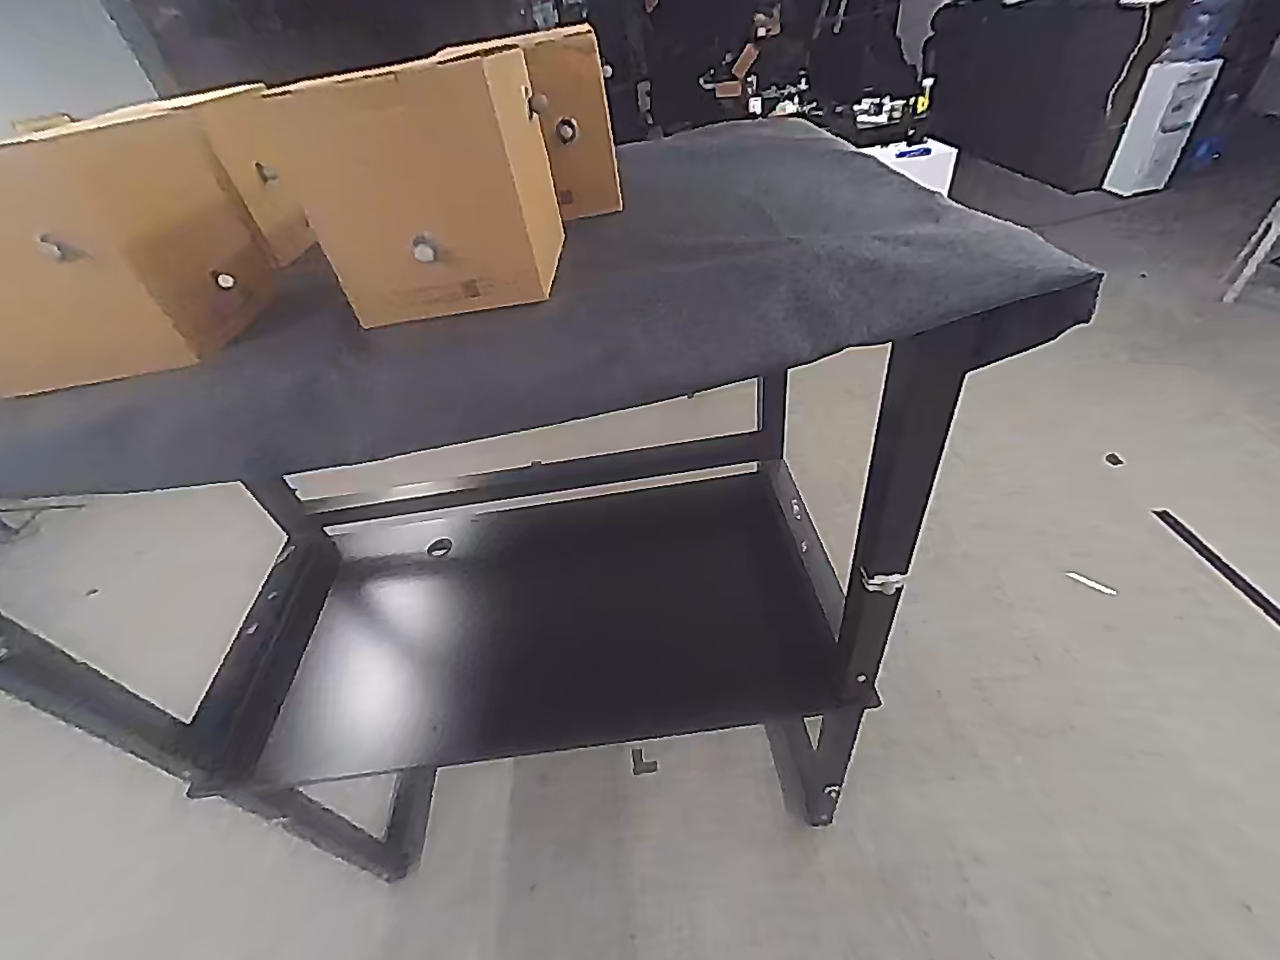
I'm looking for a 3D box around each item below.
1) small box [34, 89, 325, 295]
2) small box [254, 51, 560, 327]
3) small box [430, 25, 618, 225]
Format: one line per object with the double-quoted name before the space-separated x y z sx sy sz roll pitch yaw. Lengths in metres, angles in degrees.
"small box" -0.518 -0.344 0.650 0.179 0.176 0.168 -8 42 3
"small box" -0.172 -0.253 0.473 0.168 0.176 0.179 -7 41 5
"small box" -0.122 -0.406 0.633 0.168 0.176 0.179 -9 42 0
